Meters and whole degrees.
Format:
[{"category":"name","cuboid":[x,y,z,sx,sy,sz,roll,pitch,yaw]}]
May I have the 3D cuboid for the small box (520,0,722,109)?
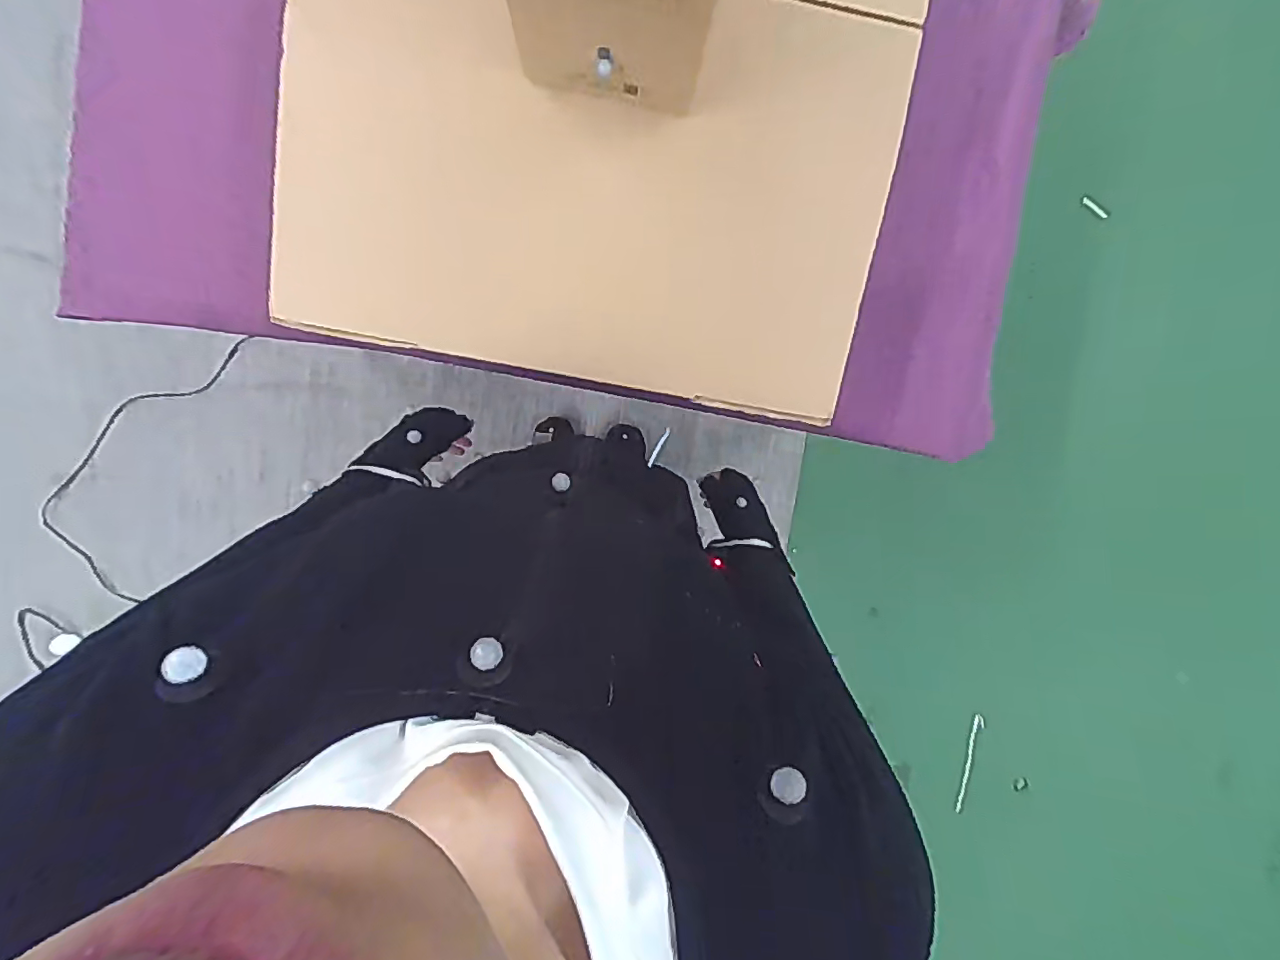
[{"category":"small box","cuboid":[-0.007,-0.455,0.440,0.168,0.176,0.179,11,94,-4]}]
